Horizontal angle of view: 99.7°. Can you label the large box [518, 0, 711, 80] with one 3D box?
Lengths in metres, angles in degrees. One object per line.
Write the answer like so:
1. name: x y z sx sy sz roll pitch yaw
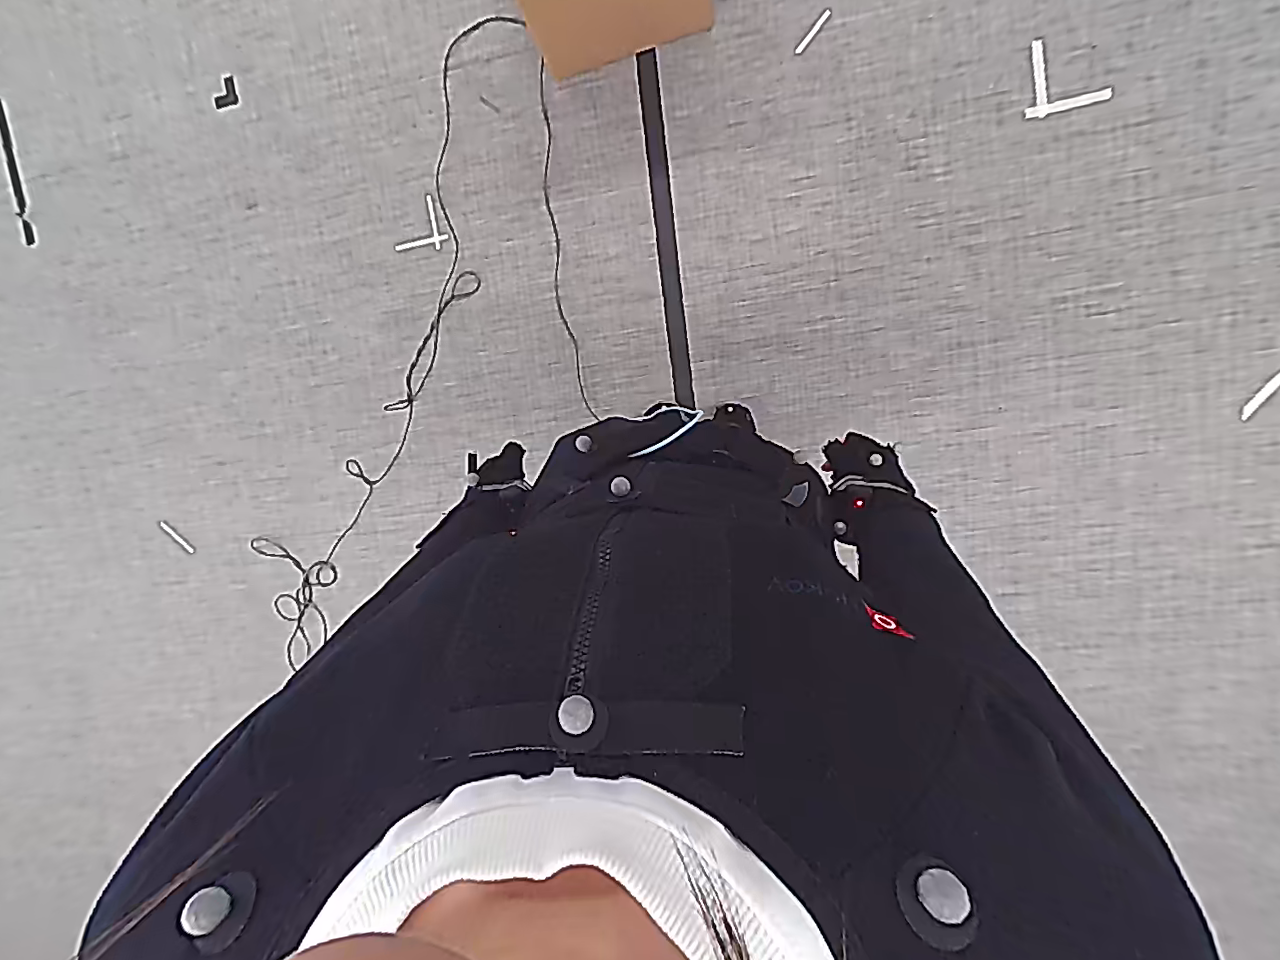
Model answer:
1. large box: -0.077 -1.152 1.143 0.408 0.320 0.320 -13 98 8
